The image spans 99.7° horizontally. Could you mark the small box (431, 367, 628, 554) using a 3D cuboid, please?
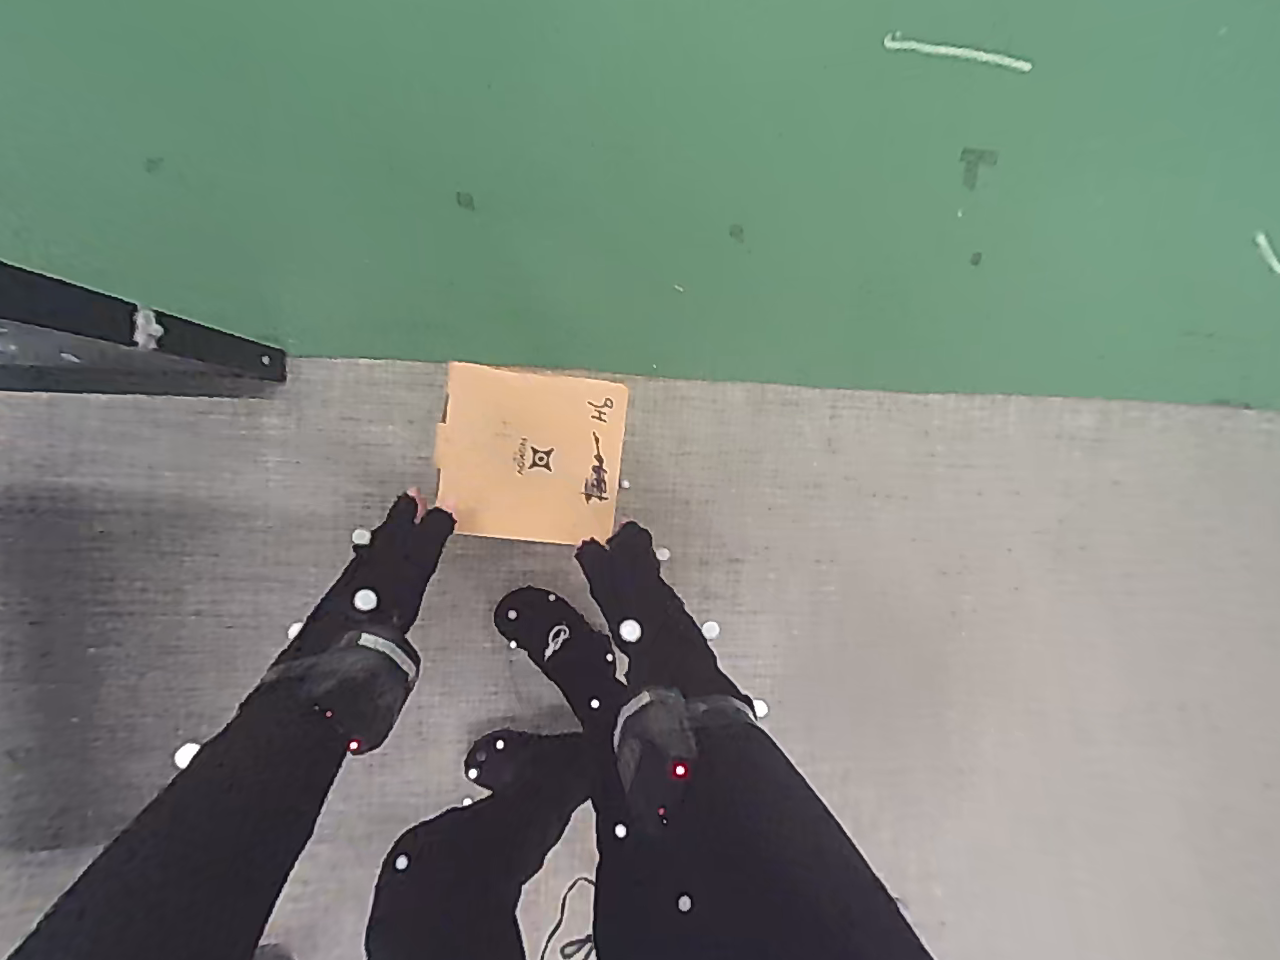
[{"bbox_3d":[-0.114,-0.021,0.607,0.179,0.176,0.168,7,93,-6],"label":"small box"}]
